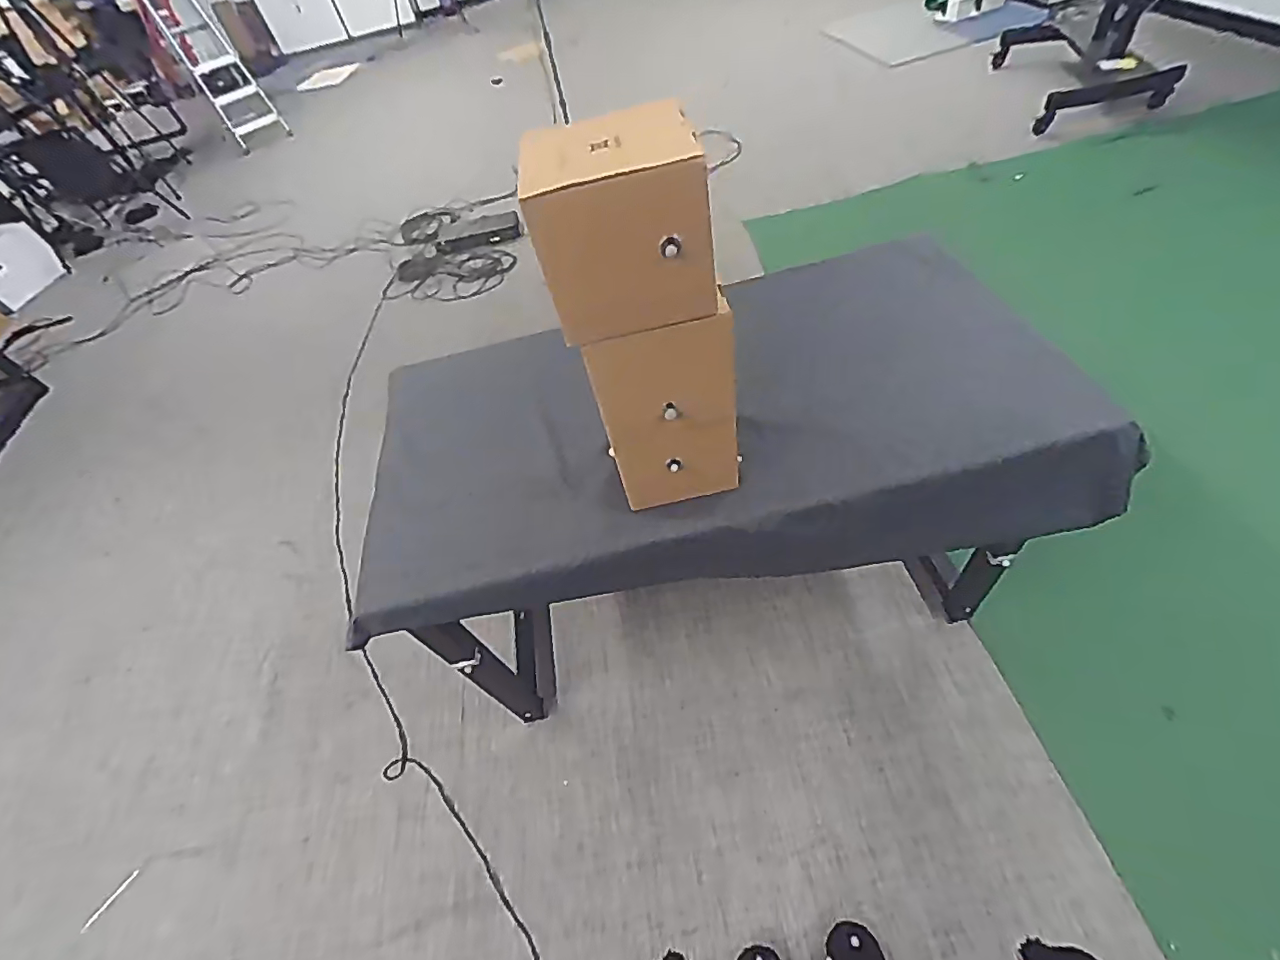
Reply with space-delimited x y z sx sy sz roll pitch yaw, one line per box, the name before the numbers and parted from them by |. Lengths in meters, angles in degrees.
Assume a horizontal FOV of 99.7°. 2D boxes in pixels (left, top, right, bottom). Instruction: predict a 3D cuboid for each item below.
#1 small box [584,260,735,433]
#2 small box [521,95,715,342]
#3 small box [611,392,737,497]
small box | 0.025 -0.187 0.722 0.179 0.176 0.168 -12 51 3
small box | -0.018 -0.281 0.595 0.179 0.176 0.168 -13 50 5
small box | 0.053 -0.094 0.850 0.179 0.176 0.168 -10 50 5
